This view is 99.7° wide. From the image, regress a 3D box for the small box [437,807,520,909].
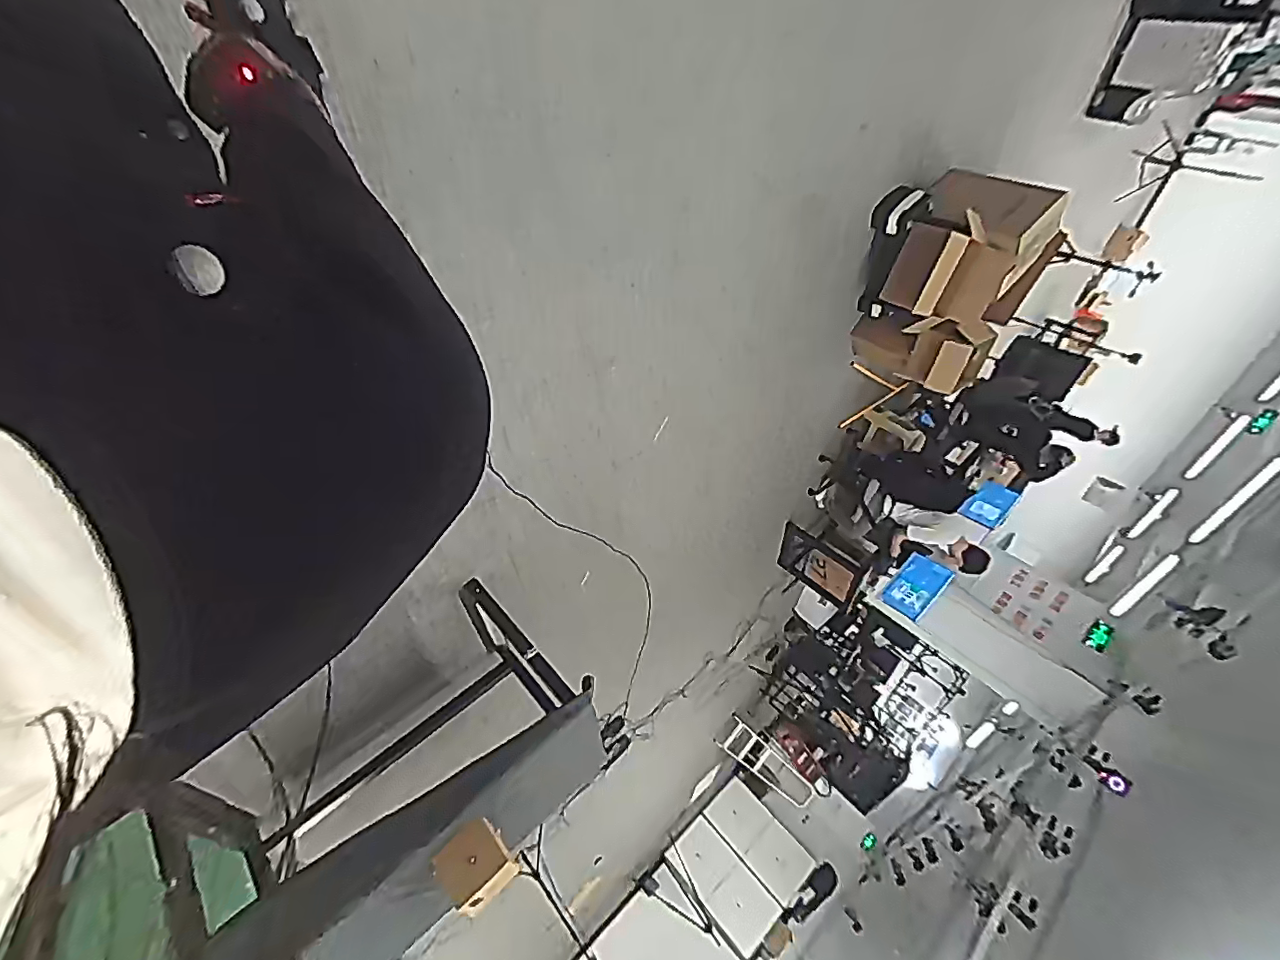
[{"bbox_3d":[-0.497,1.153,1.654,0.179,0.176,0.168,-35,145,-27],"label":"small box"}]
